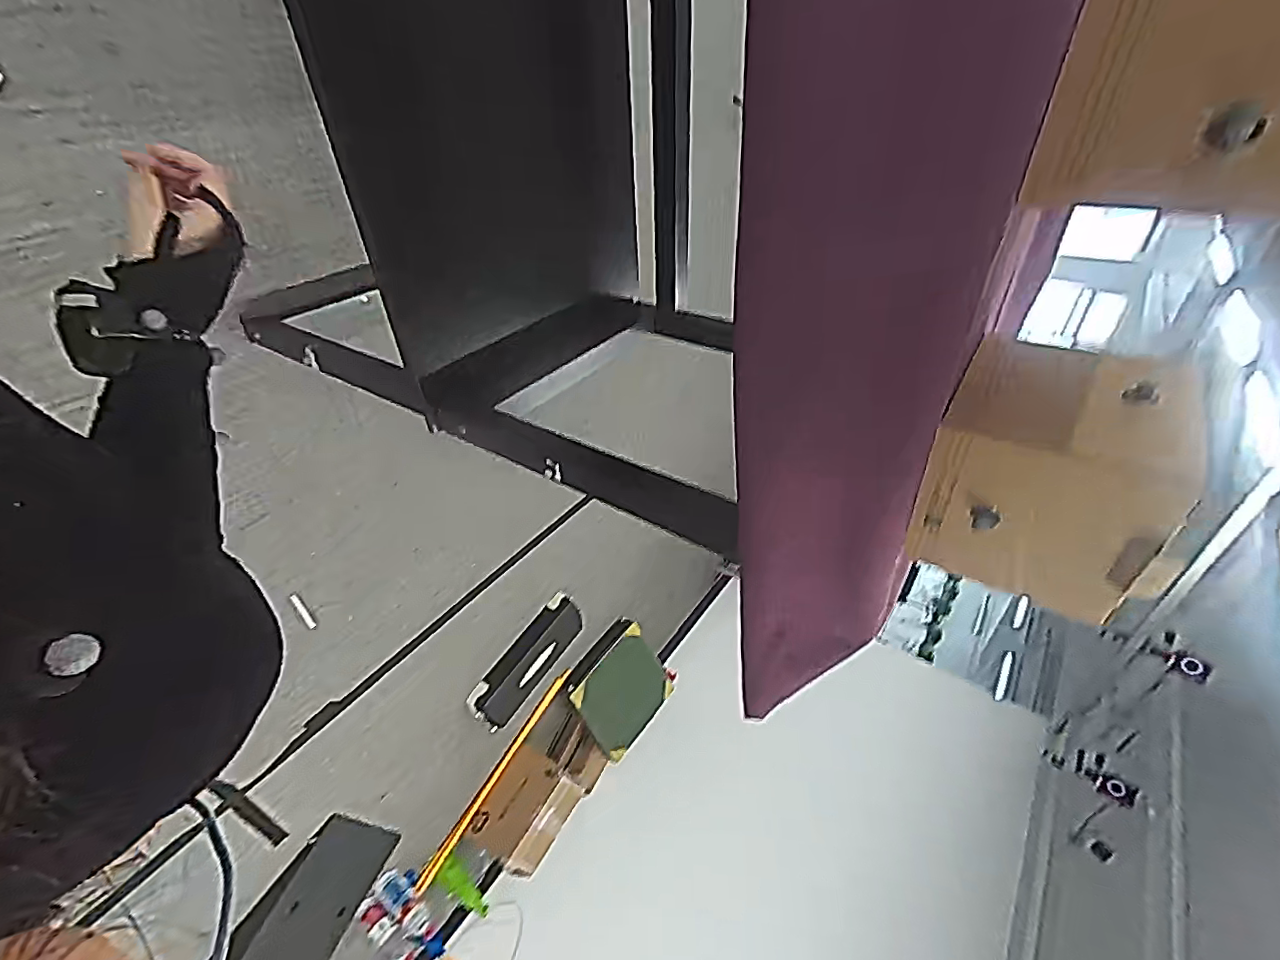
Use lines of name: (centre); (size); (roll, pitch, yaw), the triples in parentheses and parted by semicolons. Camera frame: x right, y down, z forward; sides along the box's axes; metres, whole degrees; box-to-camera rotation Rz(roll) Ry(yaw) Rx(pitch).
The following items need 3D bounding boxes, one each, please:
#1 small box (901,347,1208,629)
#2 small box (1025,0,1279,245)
small box: (0.367, -0.005, 0.503); (0.179, 0.176, 0.168); (-46, 143, -35)
small box: (0.358, -0.255, 0.329); (0.168, 0.176, 0.179); (-39, 139, -42)
